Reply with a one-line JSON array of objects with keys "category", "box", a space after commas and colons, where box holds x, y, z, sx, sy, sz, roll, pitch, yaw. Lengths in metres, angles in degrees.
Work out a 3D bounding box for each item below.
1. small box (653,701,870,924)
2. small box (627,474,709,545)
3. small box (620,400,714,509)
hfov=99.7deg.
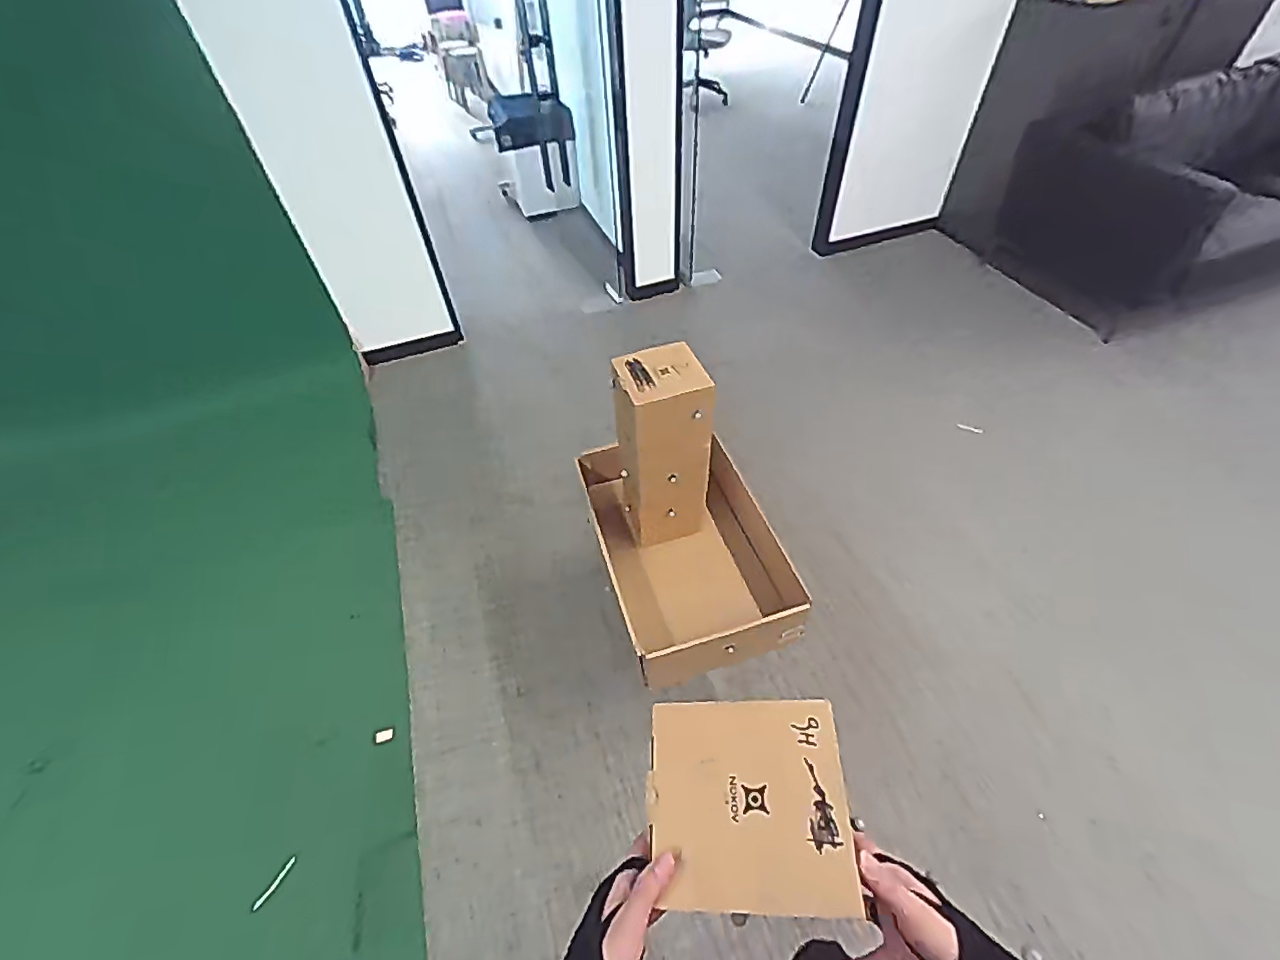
[{"category": "small box", "box": [0.118, 0.328, 0.544, 0.179, 0.176, 0.168, -5, 55, 12]}, {"category": "small box", "box": [0.067, 0.045, 1.419, 0.179, 0.176, 0.168, -15, 50, -10]}, {"category": "small box", "box": [0.061, -0.058, 1.292, 0.179, 0.176, 0.168, -17, 51, -10]}]
